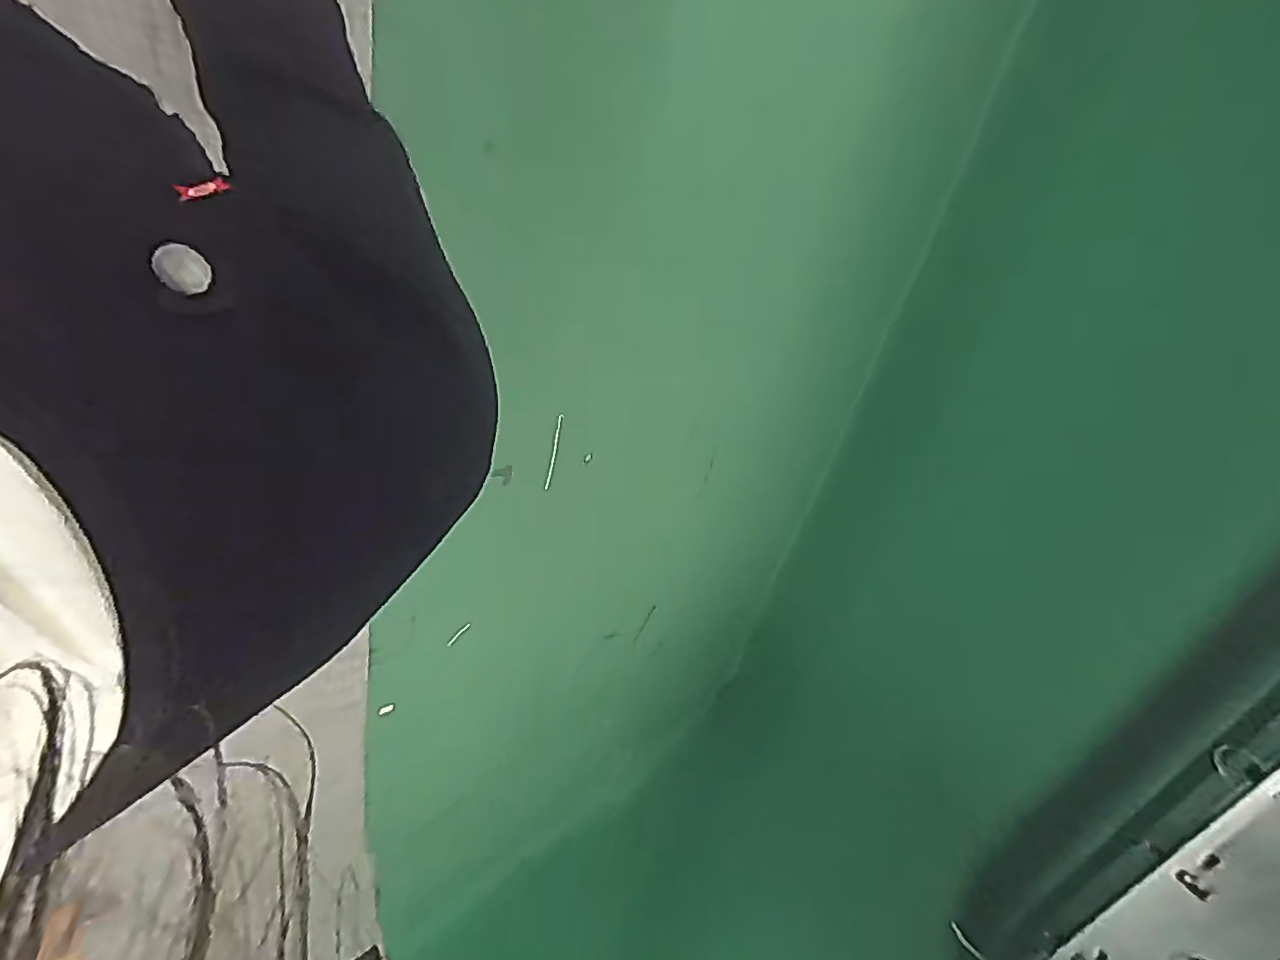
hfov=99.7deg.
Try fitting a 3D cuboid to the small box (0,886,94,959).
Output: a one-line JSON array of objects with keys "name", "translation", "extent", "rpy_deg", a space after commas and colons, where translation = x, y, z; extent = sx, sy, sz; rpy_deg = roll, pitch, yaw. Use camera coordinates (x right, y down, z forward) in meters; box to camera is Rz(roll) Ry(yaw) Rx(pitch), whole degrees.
[{"name": "small box", "translation": [-1.655, 1.297, 1.504], "extent": [0.179, 0.176, 0.168], "rpy_deg": [-9, 125, -47]}]
